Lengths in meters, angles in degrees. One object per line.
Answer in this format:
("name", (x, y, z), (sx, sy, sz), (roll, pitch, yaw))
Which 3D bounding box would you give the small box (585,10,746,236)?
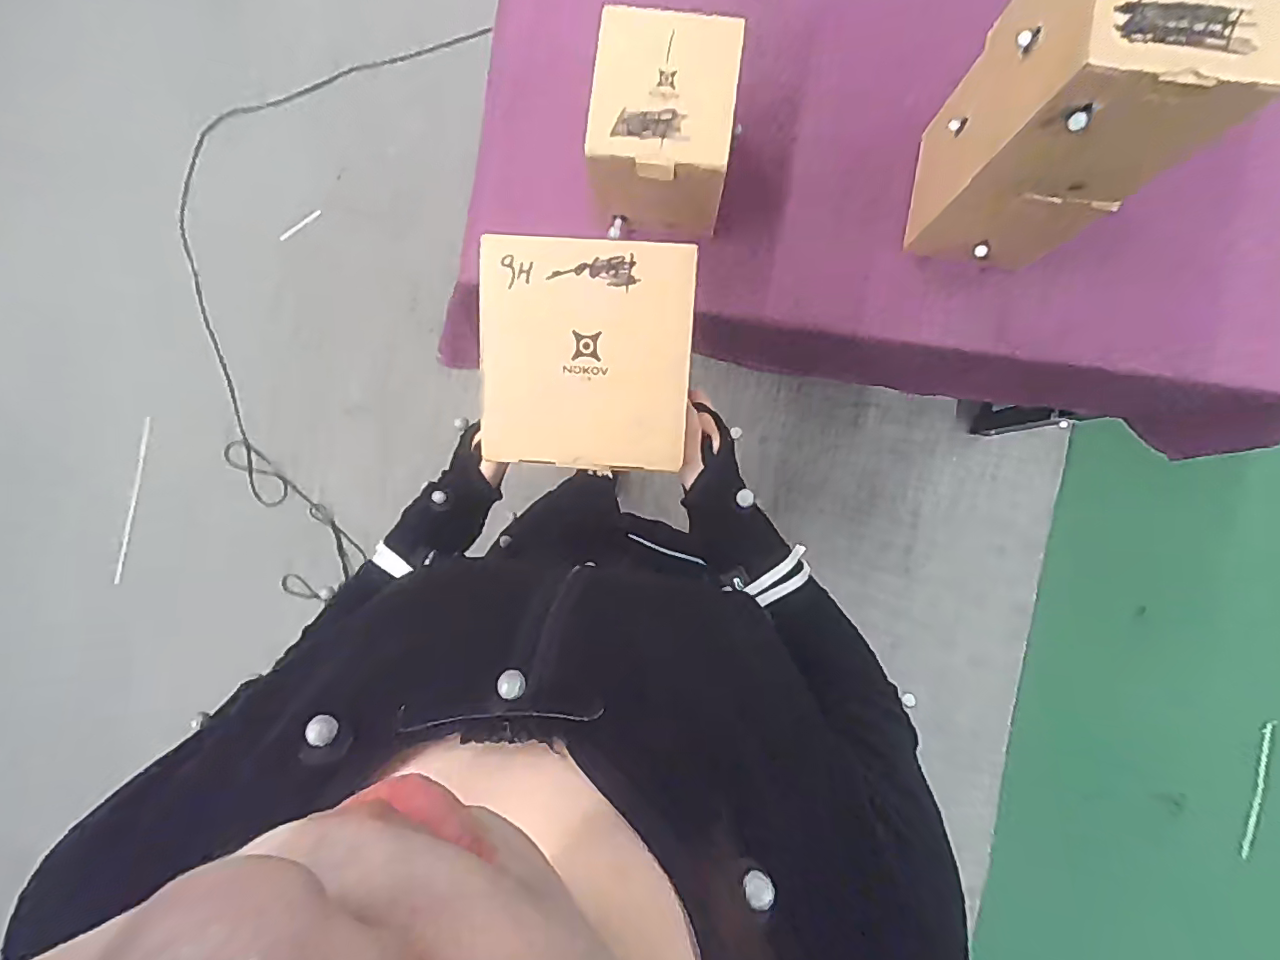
("small box", (0.032, -0.439, 0.692), (0.168, 0.176, 0.179), (7, 88, 2))

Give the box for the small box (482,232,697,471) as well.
("small box", (-0.039, -0.115, 0.501), (0.168, 0.176, 0.179), (4, 103, 1))

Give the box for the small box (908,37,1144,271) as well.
("small box", (0.462, -0.391, 0.676), (0.168, 0.176, 0.179), (11, 90, 3))
